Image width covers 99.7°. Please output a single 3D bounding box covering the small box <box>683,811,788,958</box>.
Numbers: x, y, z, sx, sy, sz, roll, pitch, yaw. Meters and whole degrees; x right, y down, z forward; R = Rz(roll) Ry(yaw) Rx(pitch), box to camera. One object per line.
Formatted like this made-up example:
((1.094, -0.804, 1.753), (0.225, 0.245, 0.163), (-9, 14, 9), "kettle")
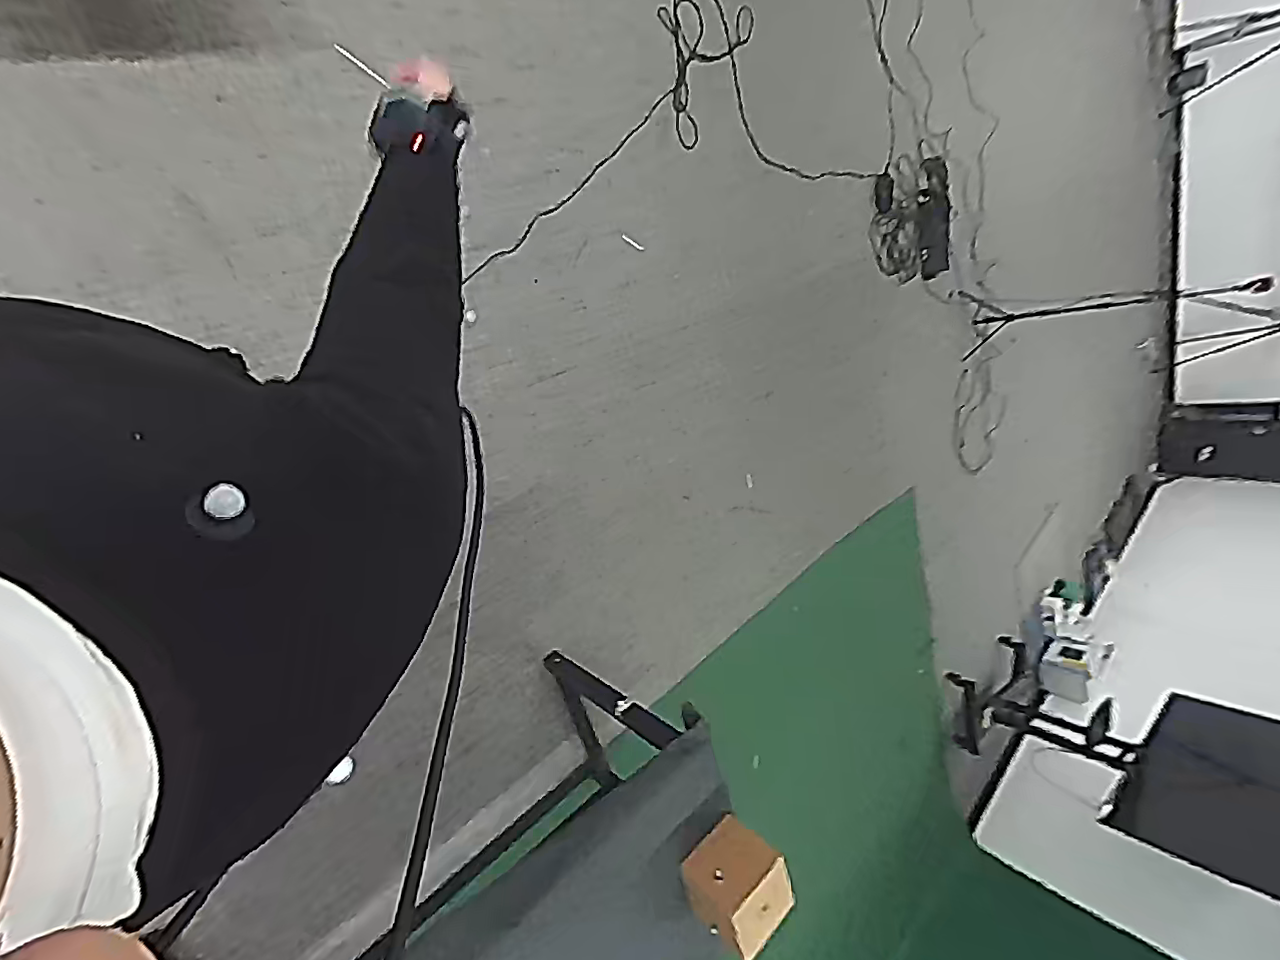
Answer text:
((0.217, 0.934, 1.266), (0.179, 0.176, 0.168), (-26, 112, -33), "small box")
